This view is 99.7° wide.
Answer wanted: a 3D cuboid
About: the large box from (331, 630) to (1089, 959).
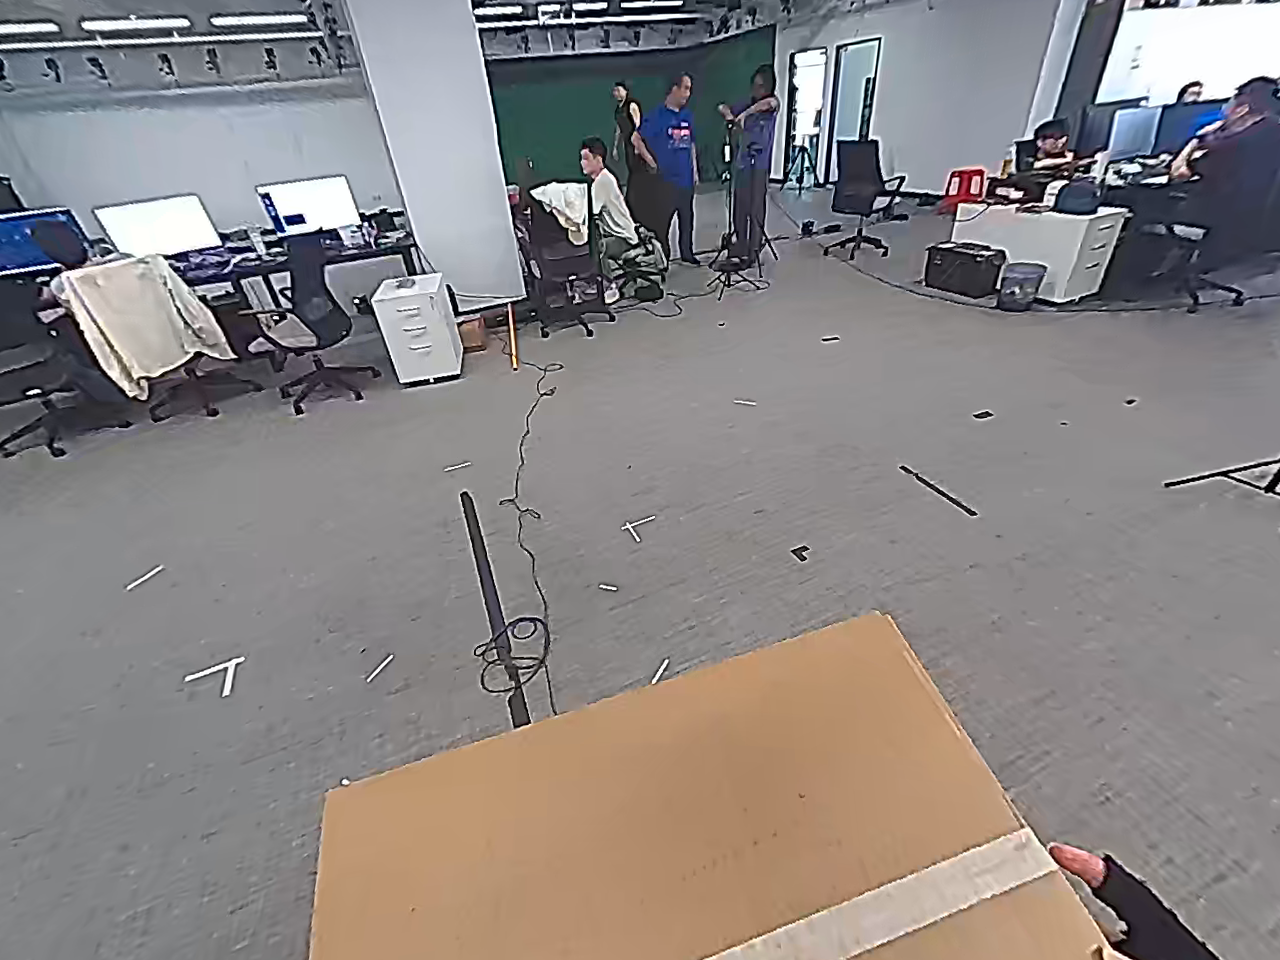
[{"bbox_3d":[0.048,0.370,0.396,0.408,0.320,0.320,-16,48,-7],"label":"large box"}]
